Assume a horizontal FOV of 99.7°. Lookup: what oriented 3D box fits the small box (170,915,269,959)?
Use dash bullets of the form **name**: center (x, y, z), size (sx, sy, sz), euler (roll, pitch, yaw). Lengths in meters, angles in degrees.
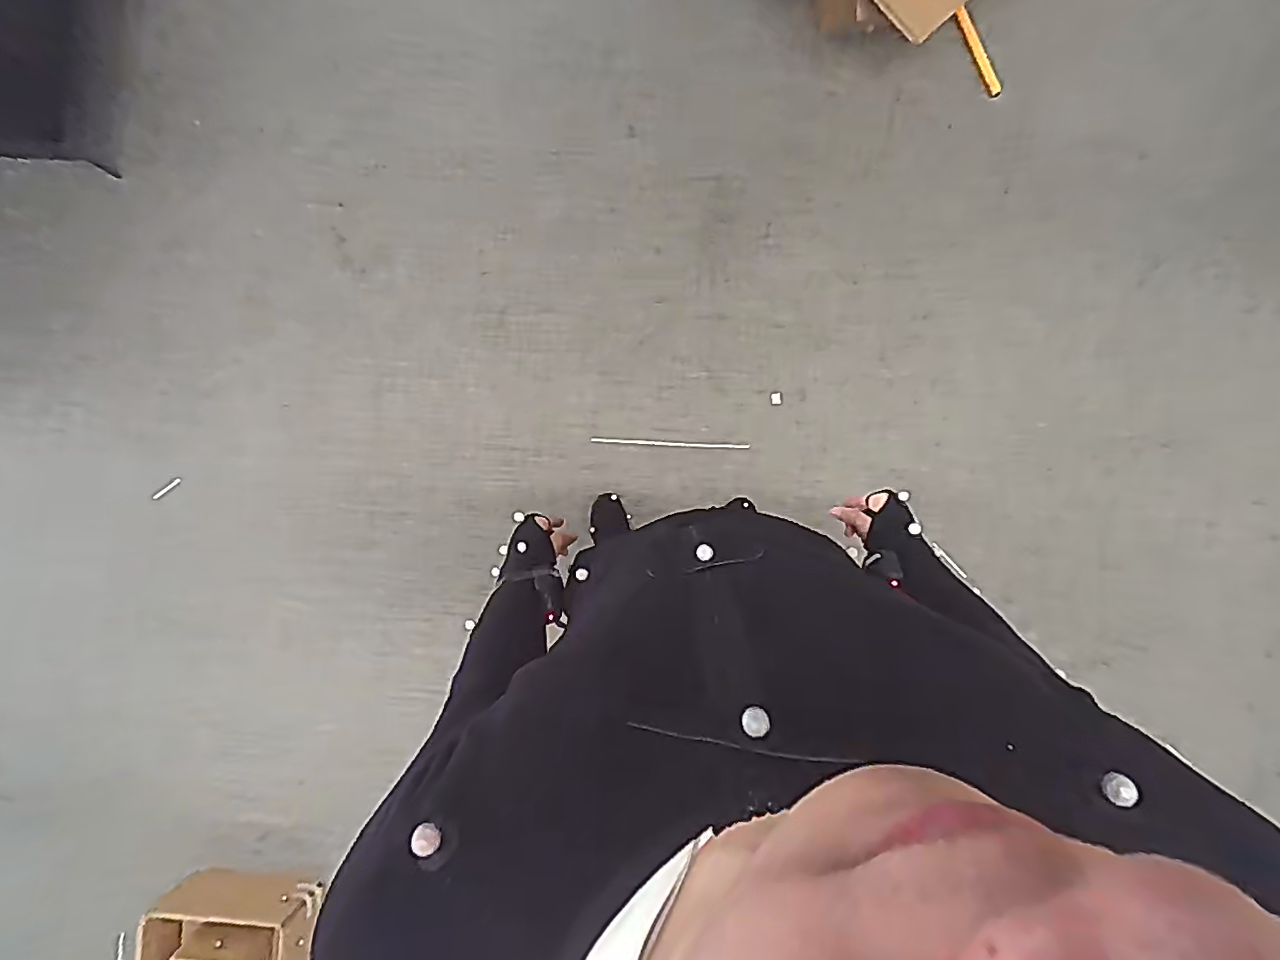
- **small box**: center (-1.165, 1.348, 1.488), size (0.179, 0.176, 0.168), euler (6, 89, 1)
